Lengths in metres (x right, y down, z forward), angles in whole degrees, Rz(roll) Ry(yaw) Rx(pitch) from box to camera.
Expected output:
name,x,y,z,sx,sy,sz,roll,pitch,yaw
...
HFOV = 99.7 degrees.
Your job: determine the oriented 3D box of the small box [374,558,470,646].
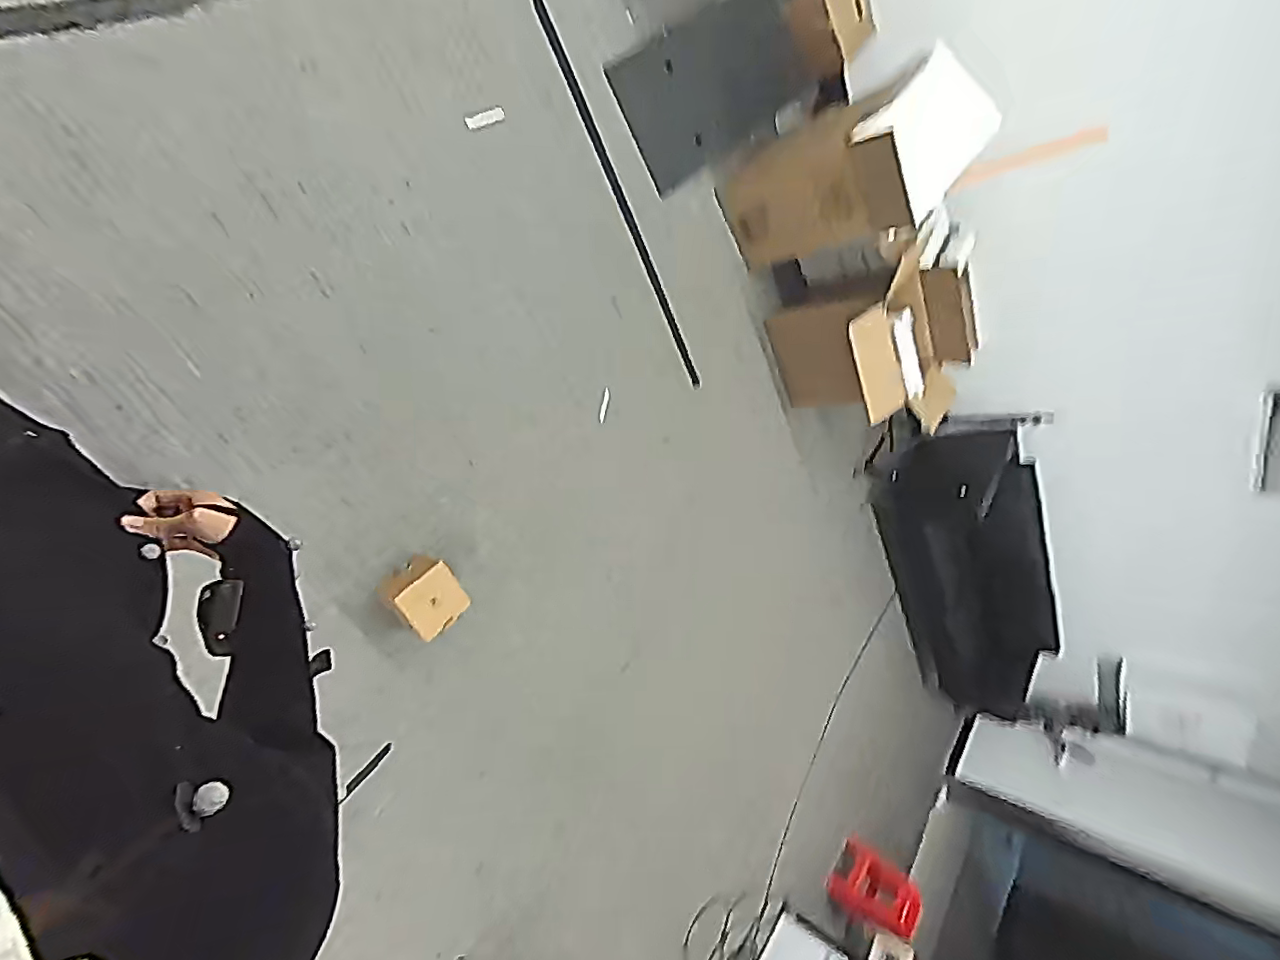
name,x,y,z,sx,sy,sz,roll,pitch,yaw
small box,-0.643,0.352,1.593,0.168,0.176,0.179,-43,120,-34
